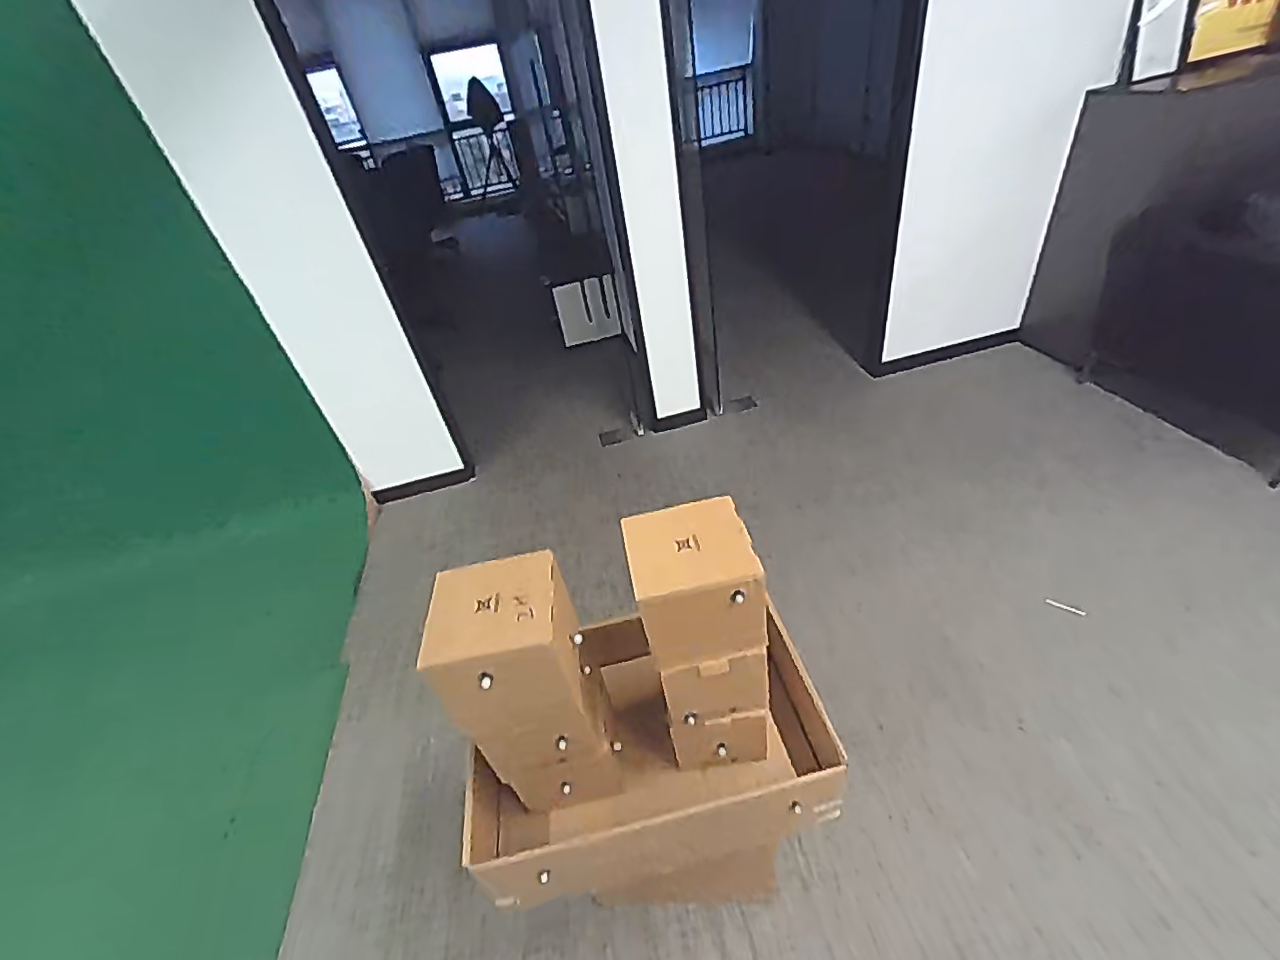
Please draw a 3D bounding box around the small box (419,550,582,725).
[{"bbox_3d":[-0.190,0.232,0.789,0.179,0.176,0.168,-11,39,0],"label":"small box"}]

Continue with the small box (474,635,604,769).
[{"bbox_3d":[-0.162,0.353,0.897,0.168,0.176,0.179,-13,38,-2],"label":"small box"}]

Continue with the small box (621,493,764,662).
[{"bbox_3d":[0.079,0.150,0.818,0.179,0.176,0.168,-13,38,-1],"label":"small box"}]

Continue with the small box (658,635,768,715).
[{"bbox_3d":[0.113,0.275,0.917,0.168,0.176,0.179,-13,38,0],"label":"small box"}]
